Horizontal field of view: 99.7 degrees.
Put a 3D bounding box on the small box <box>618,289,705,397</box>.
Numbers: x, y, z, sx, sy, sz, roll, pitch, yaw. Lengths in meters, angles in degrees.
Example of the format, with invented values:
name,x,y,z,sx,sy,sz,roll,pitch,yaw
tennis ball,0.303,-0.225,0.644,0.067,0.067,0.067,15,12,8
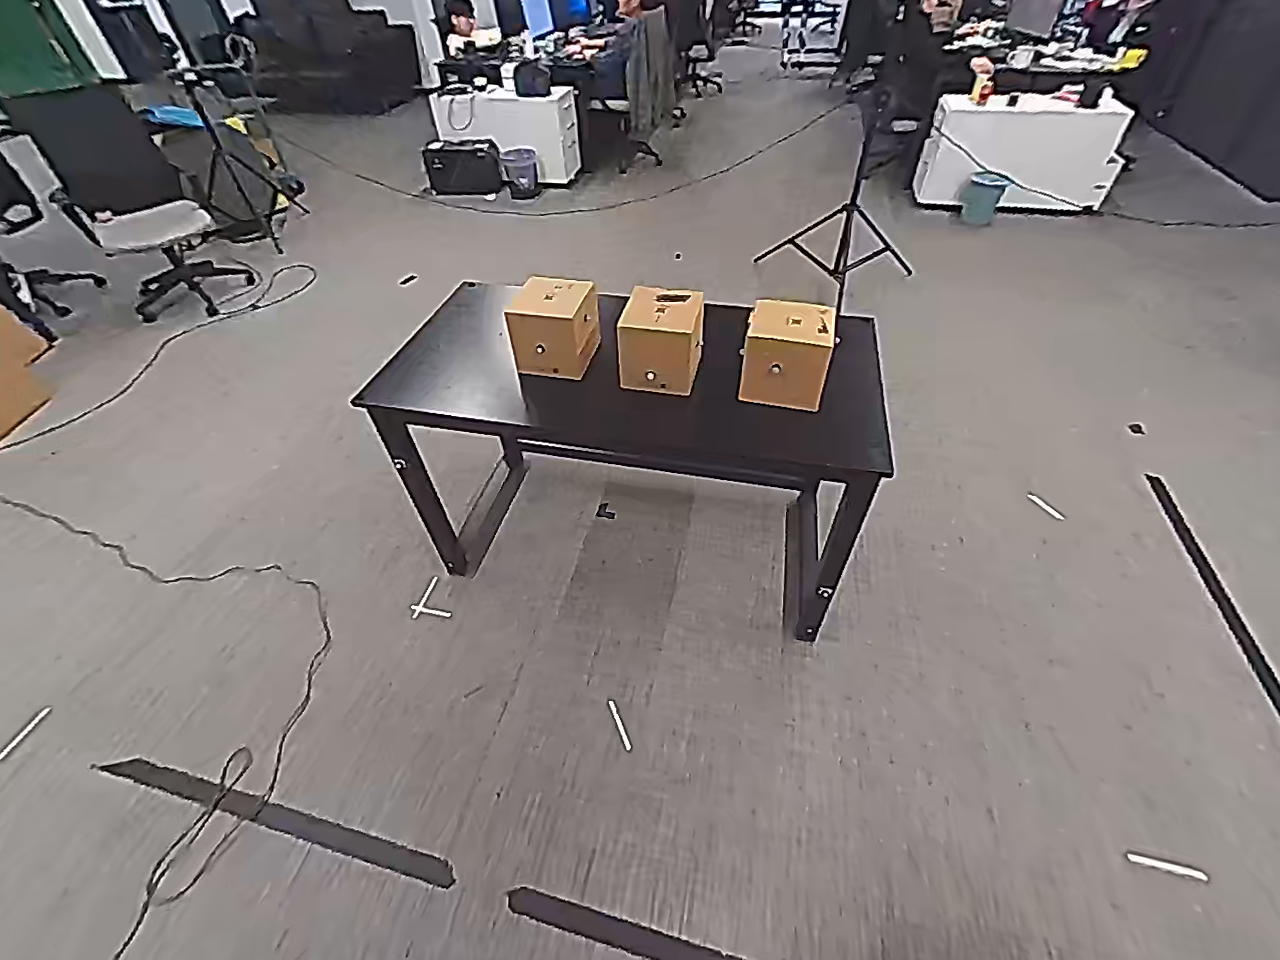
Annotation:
name,x,y,z,sx,sy,sz,roll,pitch,yaw
small box,0.051,-0.319,1.257,0.168,0.176,0.179,9,48,11

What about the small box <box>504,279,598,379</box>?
name,x,y,z,sx,sy,sz,roll,pitch,yaw
small box,-0.204,-0.365,1.310,0.168,0.176,0.179,9,47,10

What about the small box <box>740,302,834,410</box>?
name,x,y,z,sx,sy,sz,roll,pitch,yaw
small box,0.324,-0.275,1.204,0.179,0.176,0.168,10,47,13
